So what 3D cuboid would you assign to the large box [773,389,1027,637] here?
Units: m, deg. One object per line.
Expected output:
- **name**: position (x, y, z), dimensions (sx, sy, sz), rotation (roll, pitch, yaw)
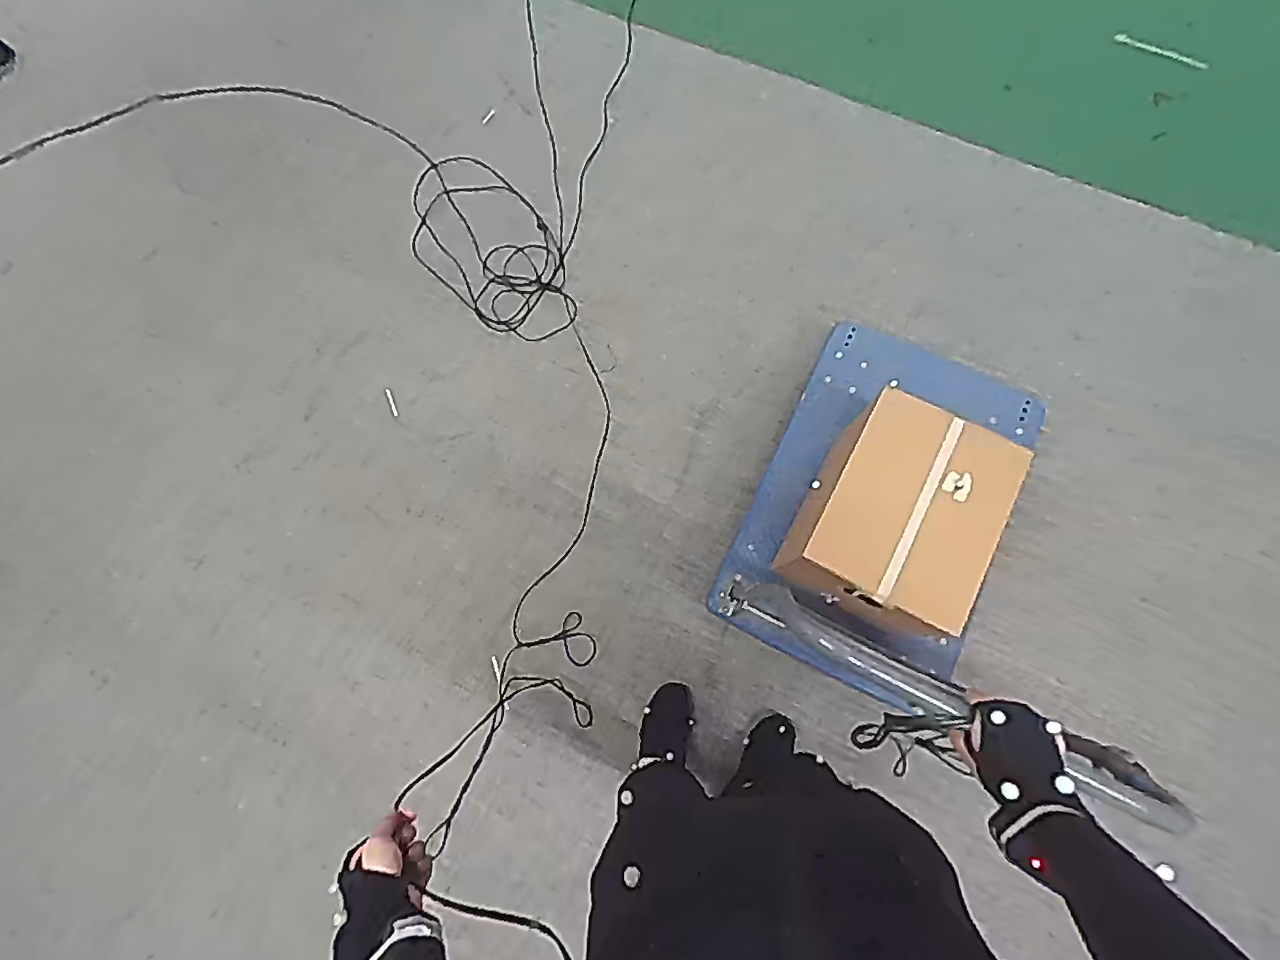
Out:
- **large box**: position (0.535, 0.089, 1.177), dimensions (0.320, 0.320, 0.408), rotation (28, 77, 8)
